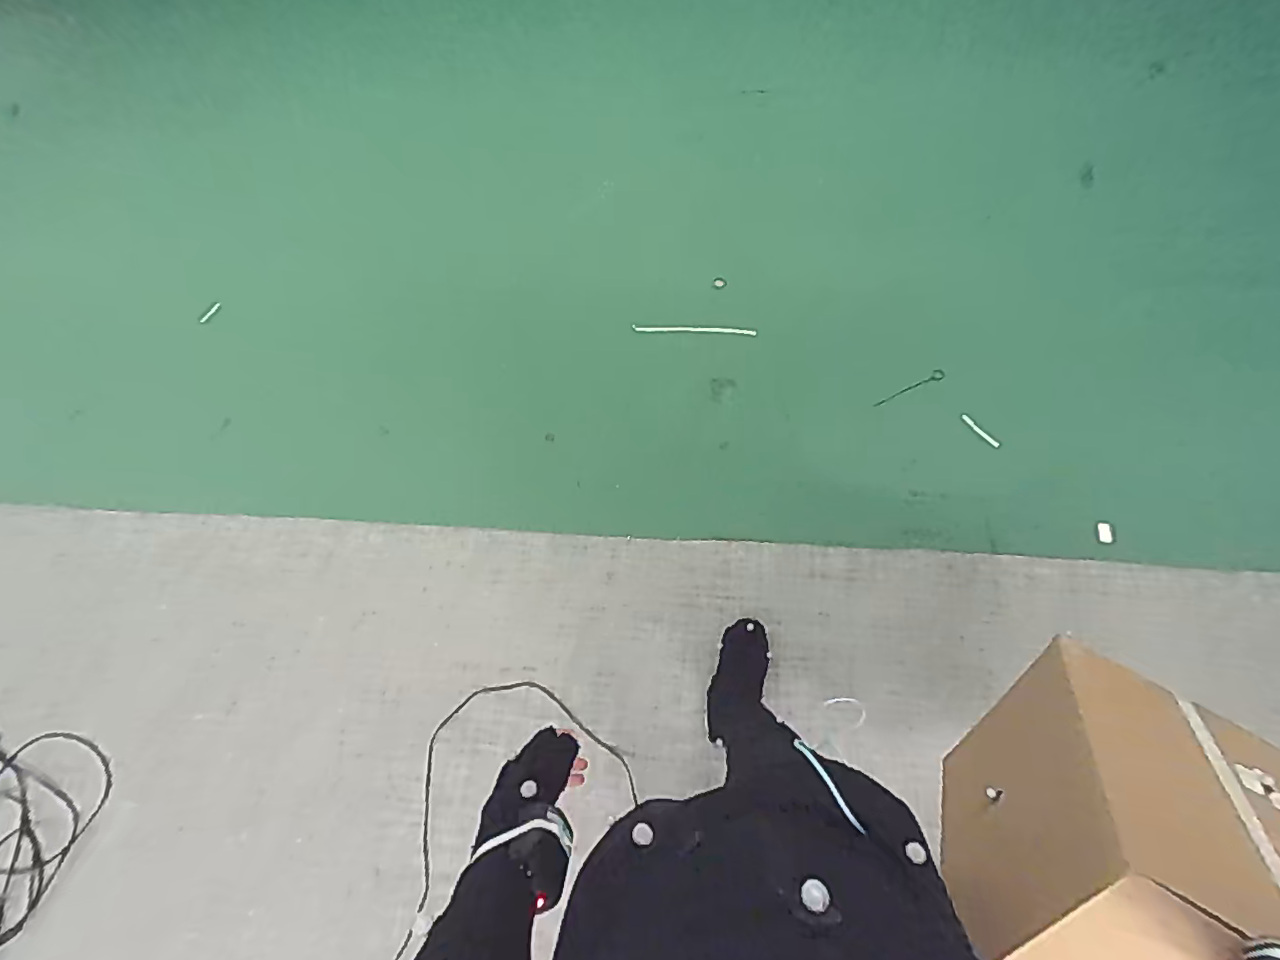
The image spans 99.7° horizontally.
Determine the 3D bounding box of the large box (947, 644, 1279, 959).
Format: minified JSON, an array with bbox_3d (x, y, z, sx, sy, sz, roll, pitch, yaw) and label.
[{"bbox_3d":[0.614,0.497,0.666,0.320,0.408,0.320,30,119,18],"label":"large box"}]
